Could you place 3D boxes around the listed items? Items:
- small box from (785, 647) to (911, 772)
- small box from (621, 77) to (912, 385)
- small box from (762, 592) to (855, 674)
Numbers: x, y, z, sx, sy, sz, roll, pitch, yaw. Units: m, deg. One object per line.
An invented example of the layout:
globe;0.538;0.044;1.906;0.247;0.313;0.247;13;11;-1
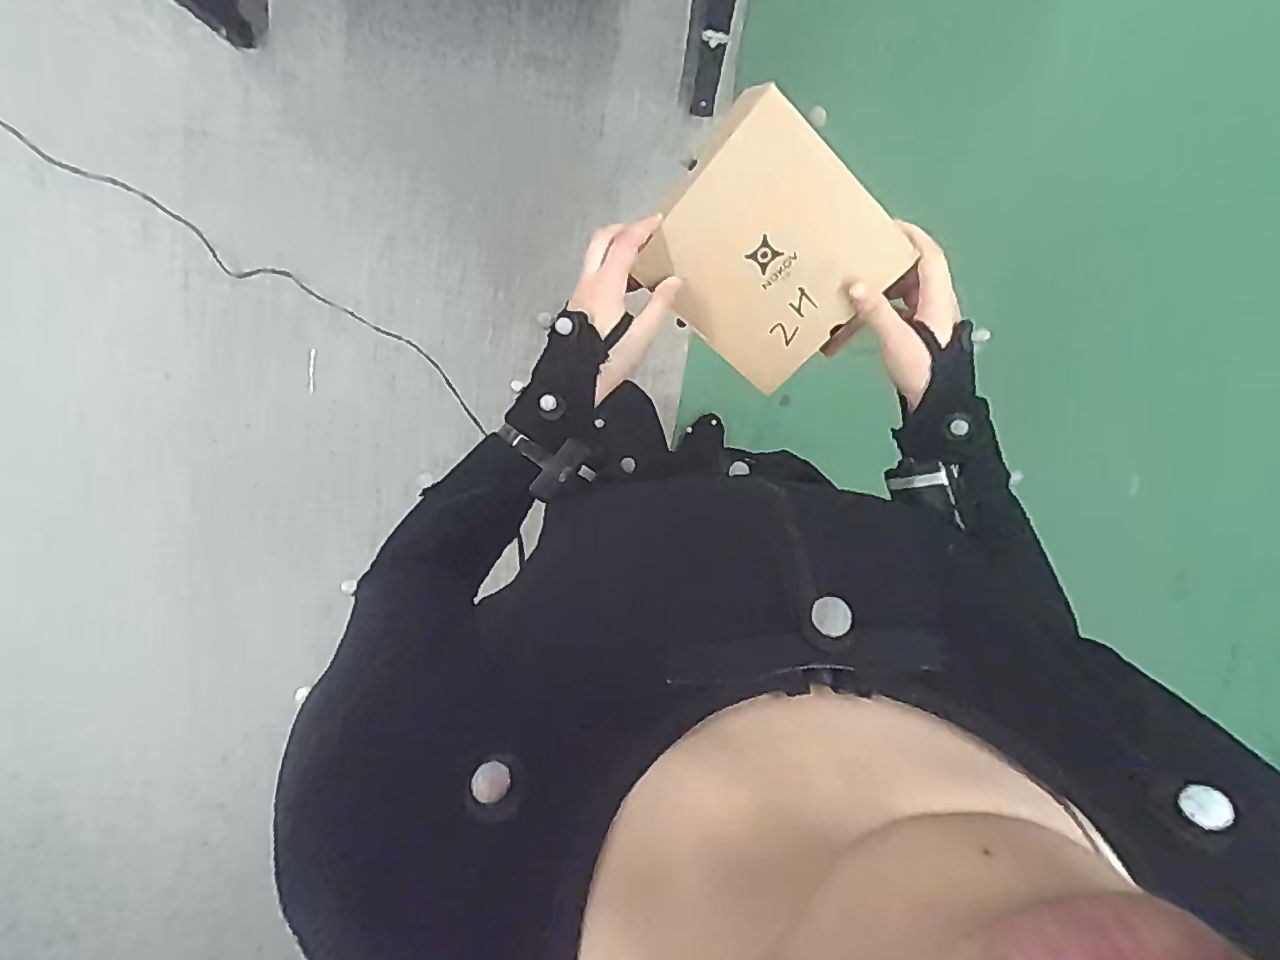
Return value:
small box;0.433;0.482;1.155;0.179;0.176;0.168;12;103;-2
small box;0.105;-0.227;0.501;0.179;0.176;0.168;35;122;-19
small box;0.450;0.424;1.479;0.179;0.176;0.168;16;102;-2
